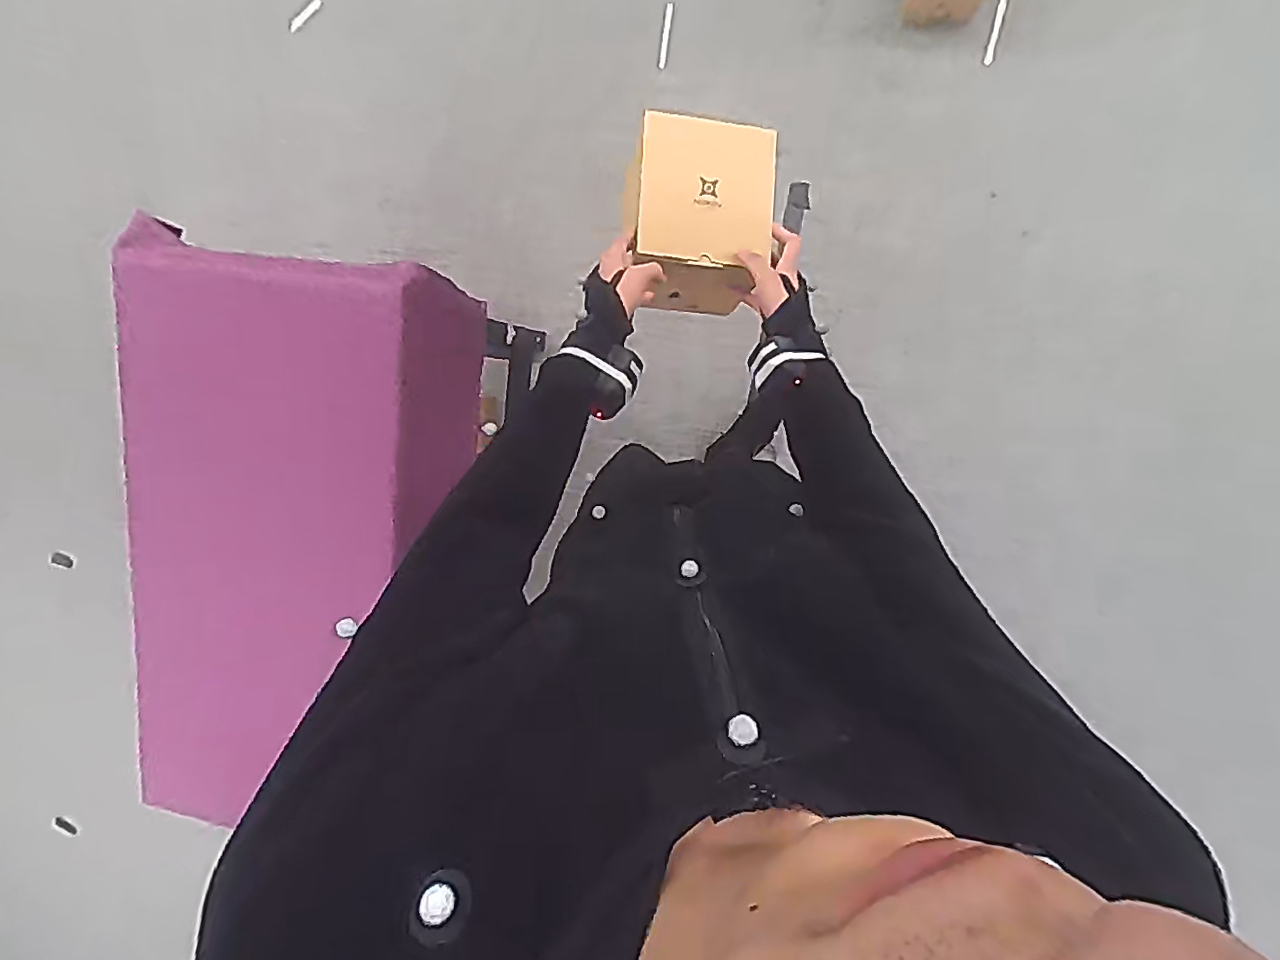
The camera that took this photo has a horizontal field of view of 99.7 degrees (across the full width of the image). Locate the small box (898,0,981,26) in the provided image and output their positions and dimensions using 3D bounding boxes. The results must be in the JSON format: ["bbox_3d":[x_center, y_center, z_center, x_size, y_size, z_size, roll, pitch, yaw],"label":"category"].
[{"bbox_3d":[0.702,-1.179,1.223,0.168,0.176,0.179,7,102,10],"label":"small box"}]

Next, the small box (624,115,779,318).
[{"bbox_3d":[0.072,-0.336,0.723,0.168,0.176,0.179,4,89,-9],"label":"small box"}]

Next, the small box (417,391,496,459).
[{"bbox_3d":[-0.553,-0.174,1.646,0.168,0.176,0.179,11,102,10],"label":"small box"}]
